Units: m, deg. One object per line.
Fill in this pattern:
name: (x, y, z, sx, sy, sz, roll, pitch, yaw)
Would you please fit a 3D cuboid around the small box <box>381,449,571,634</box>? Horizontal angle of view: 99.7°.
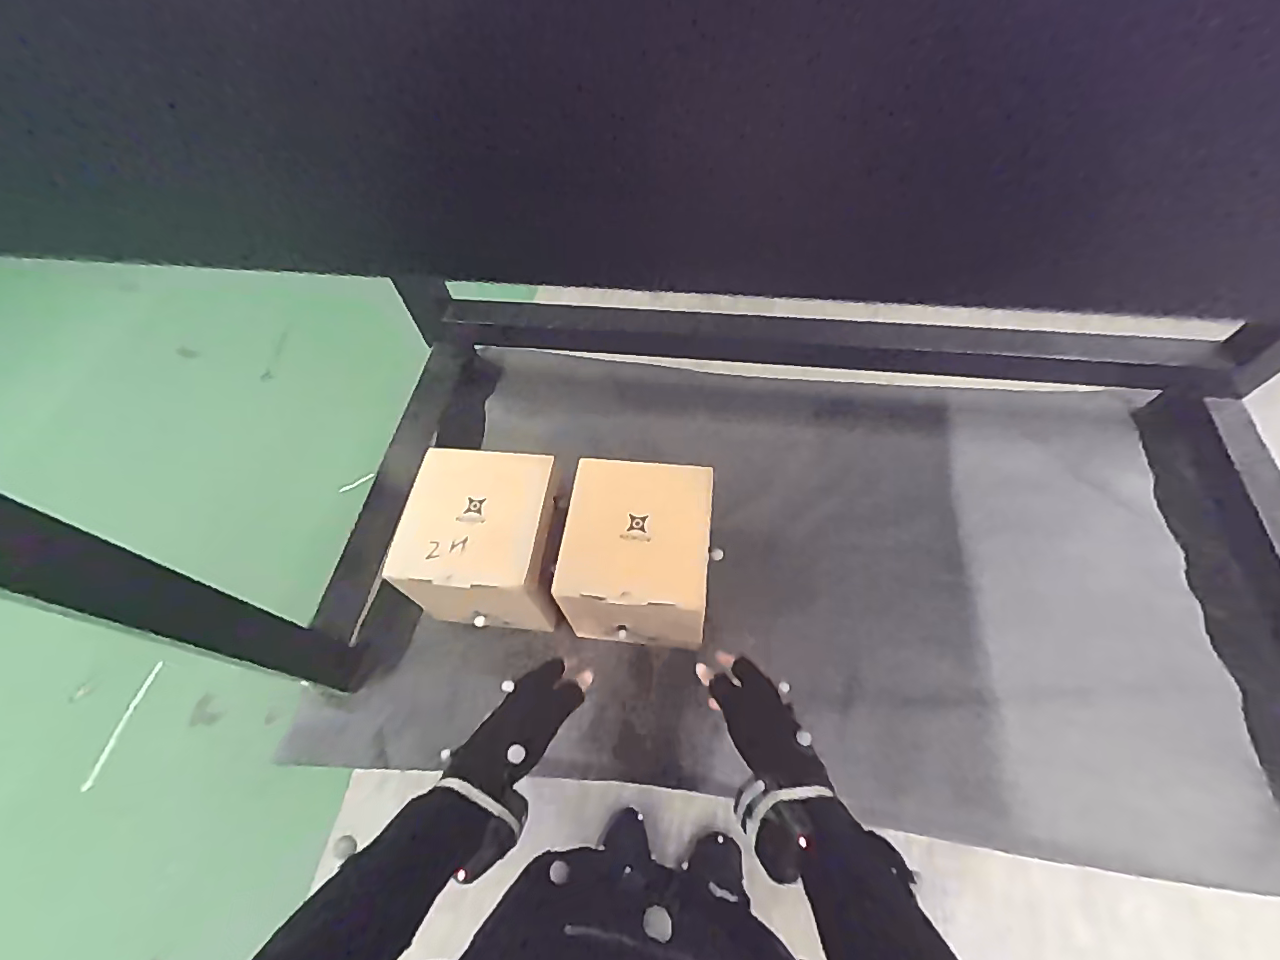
small box: (-0.191, 0.082, 0.697, 0.168, 0.176, 0.179, 4, 59, 7)
